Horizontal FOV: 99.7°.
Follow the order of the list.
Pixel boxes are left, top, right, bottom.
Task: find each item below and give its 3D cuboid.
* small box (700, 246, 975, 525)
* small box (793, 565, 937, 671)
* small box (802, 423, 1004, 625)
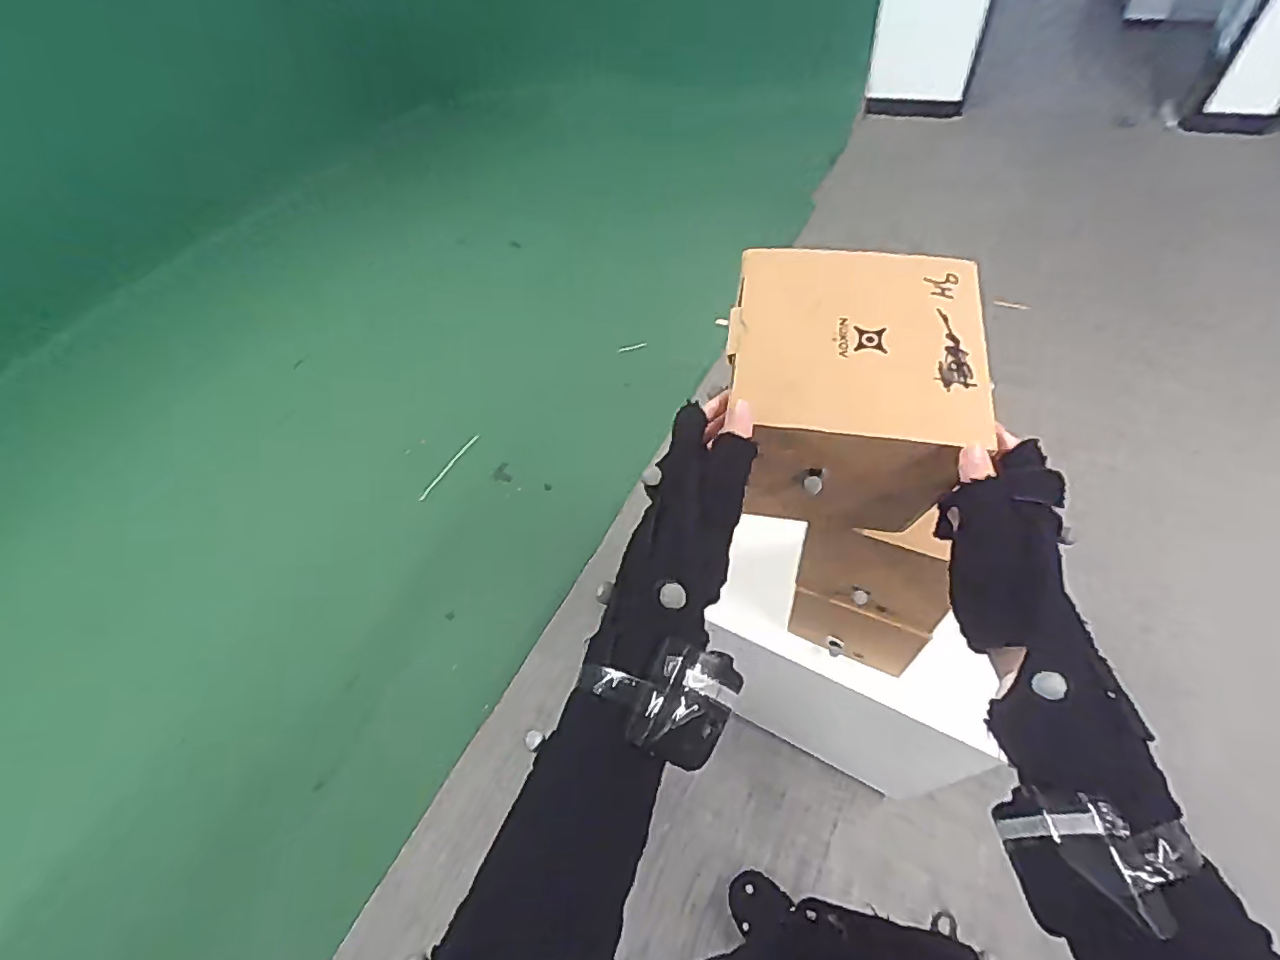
[{"bbox_3d":[0.146,-0.070,0.455,0.179,0.176,0.168,5,67,9],"label":"small box"},{"bbox_3d":[0.319,0.137,0.755,0.168,0.176,0.179,18,62,23],"label":"small box"},{"bbox_3d":[0.293,0.038,0.627,0.168,0.176,0.179,15,58,21],"label":"small box"}]
